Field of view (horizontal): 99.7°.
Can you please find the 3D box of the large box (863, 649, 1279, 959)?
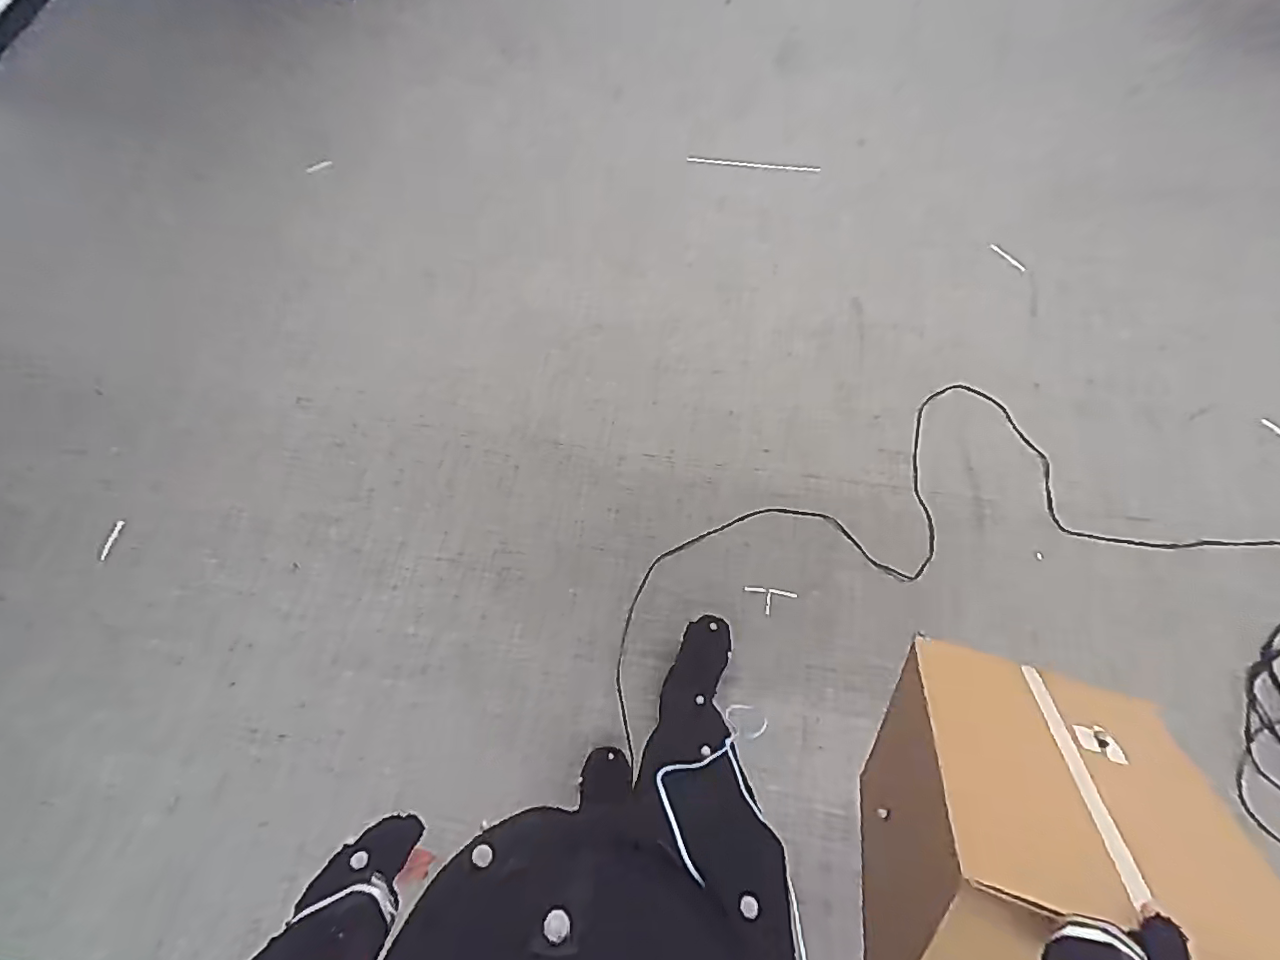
[{"bbox_3d":[0.488,0.497,0.686,0.320,0.408,0.320,15,111,15],"label":"large box"}]
